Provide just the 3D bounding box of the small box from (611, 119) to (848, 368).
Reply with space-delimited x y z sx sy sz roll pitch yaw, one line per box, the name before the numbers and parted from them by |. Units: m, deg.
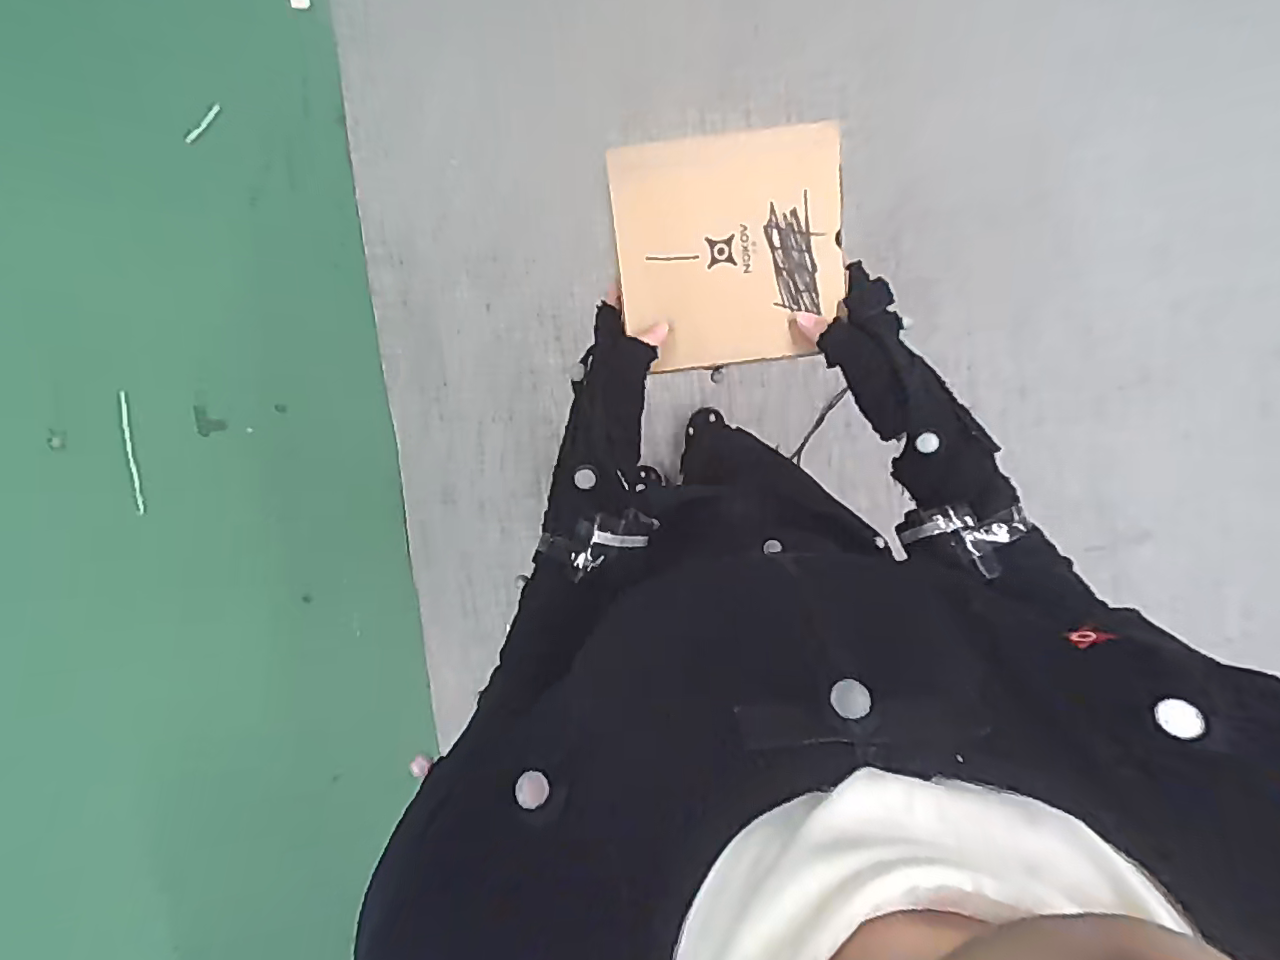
small box | 0.070 -0.193 0.491 0.179 0.176 0.168 -6 100 1
